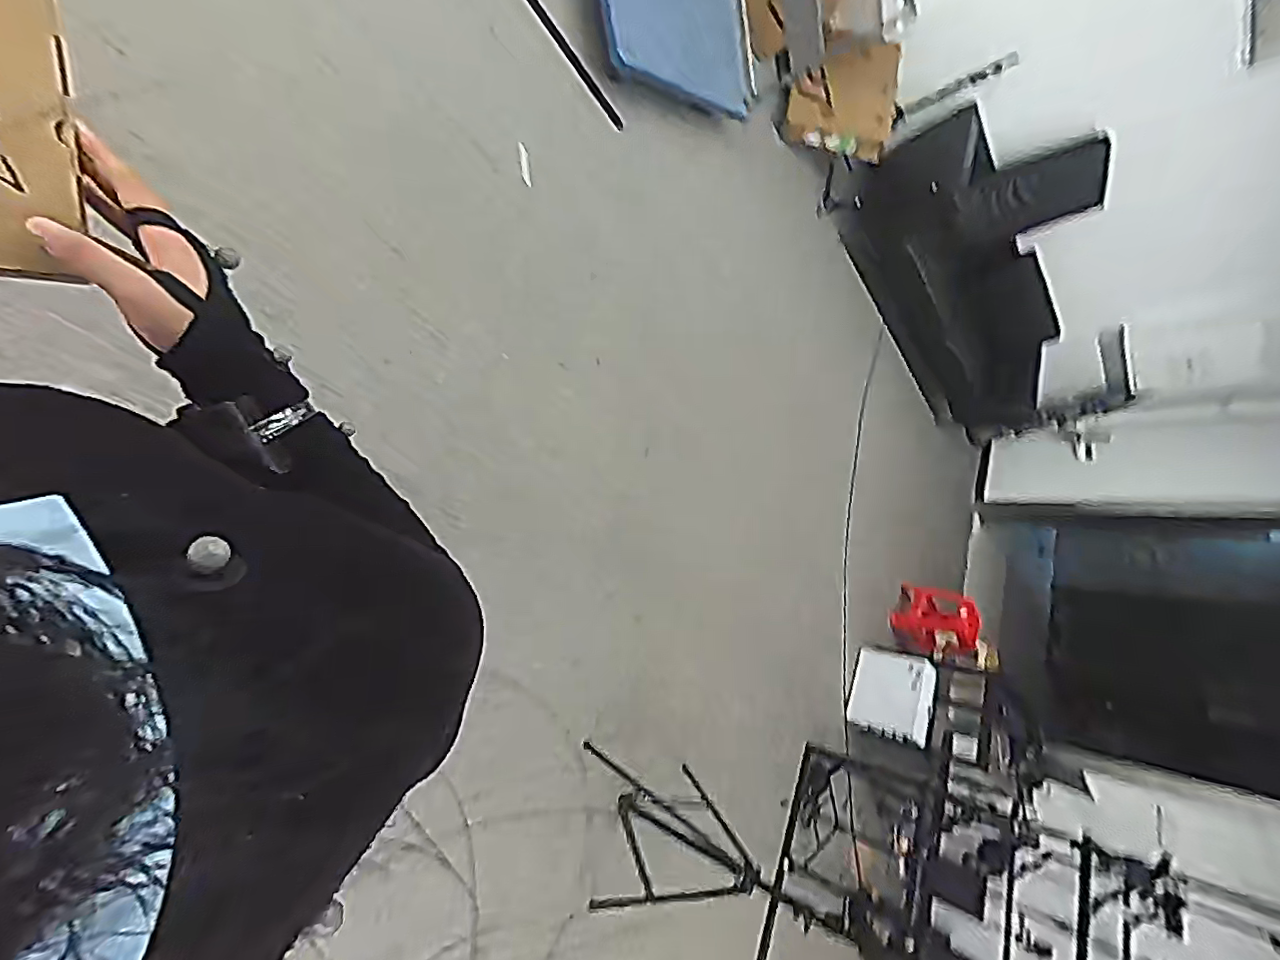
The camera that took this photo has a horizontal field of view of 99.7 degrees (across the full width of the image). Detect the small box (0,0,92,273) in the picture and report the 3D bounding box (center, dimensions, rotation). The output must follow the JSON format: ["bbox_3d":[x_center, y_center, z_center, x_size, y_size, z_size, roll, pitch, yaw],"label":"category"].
[{"bbox_3d":[-0.452,-0.218,0.314,0.179,0.176,0.168,-10,111,-45],"label":"small box"}]
